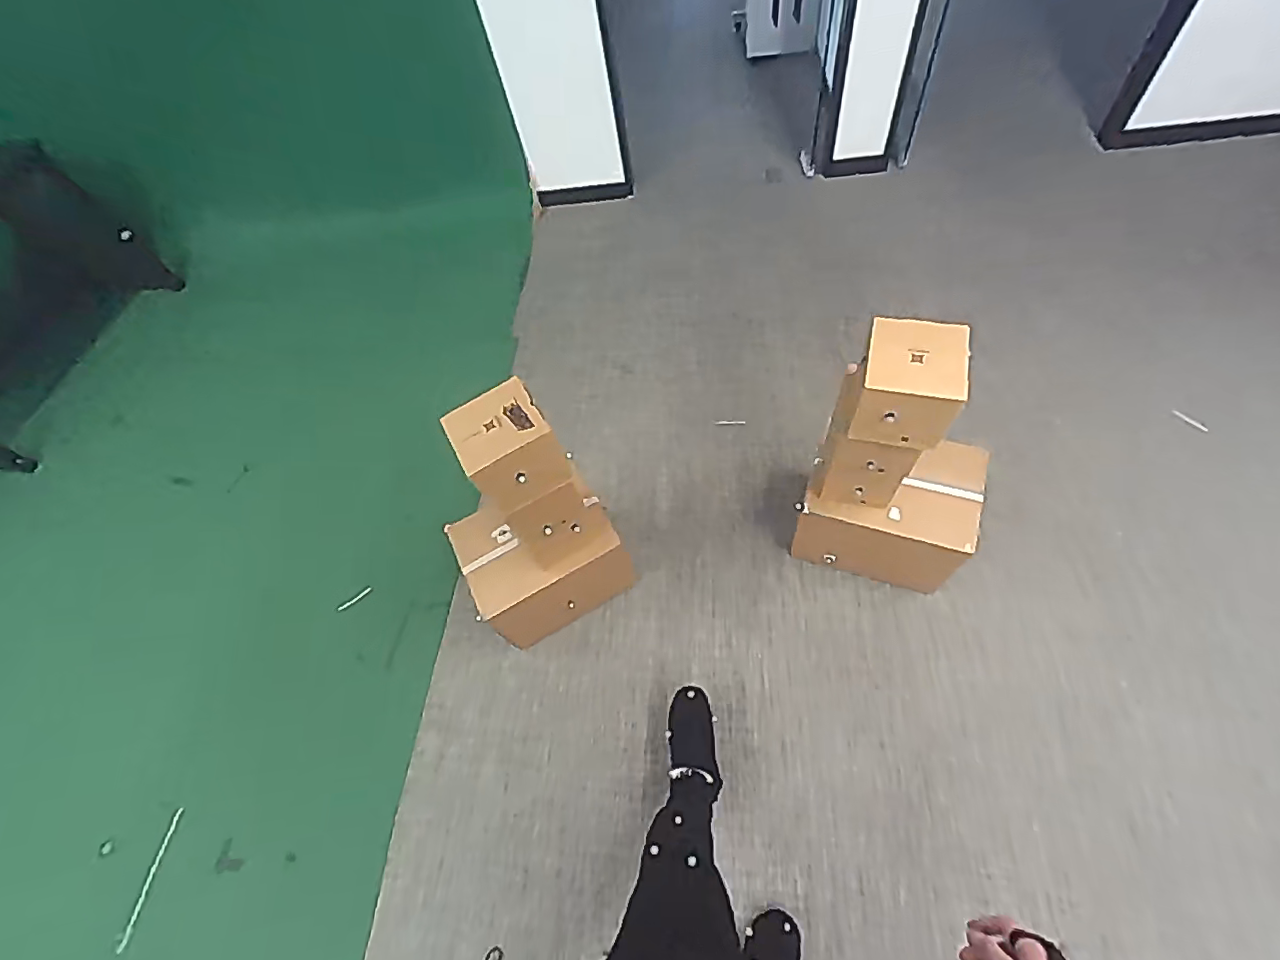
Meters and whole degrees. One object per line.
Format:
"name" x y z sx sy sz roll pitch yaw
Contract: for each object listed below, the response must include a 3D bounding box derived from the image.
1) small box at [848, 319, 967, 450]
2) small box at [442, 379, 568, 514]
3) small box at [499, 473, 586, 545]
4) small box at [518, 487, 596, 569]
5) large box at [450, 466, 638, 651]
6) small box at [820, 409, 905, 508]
"small box" 0.503 -0.177 1.032 0.168 0.176 0.179 11 62 15
"small box" -0.260 -0.063 1.087 0.179 0.176 0.168 -30 59 -7
"small box" -0.242 0.018 1.228 0.168 0.176 0.179 -29 60 -7
"small box" -0.224 0.096 1.370 0.179 0.176 0.168 -30 59 -9
"large box" -0.267 0.235 1.583 0.408 0.320 0.320 -30 58 -8
"small box" 0.543 -0.049 1.332 0.168 0.176 0.179 9 62 13
